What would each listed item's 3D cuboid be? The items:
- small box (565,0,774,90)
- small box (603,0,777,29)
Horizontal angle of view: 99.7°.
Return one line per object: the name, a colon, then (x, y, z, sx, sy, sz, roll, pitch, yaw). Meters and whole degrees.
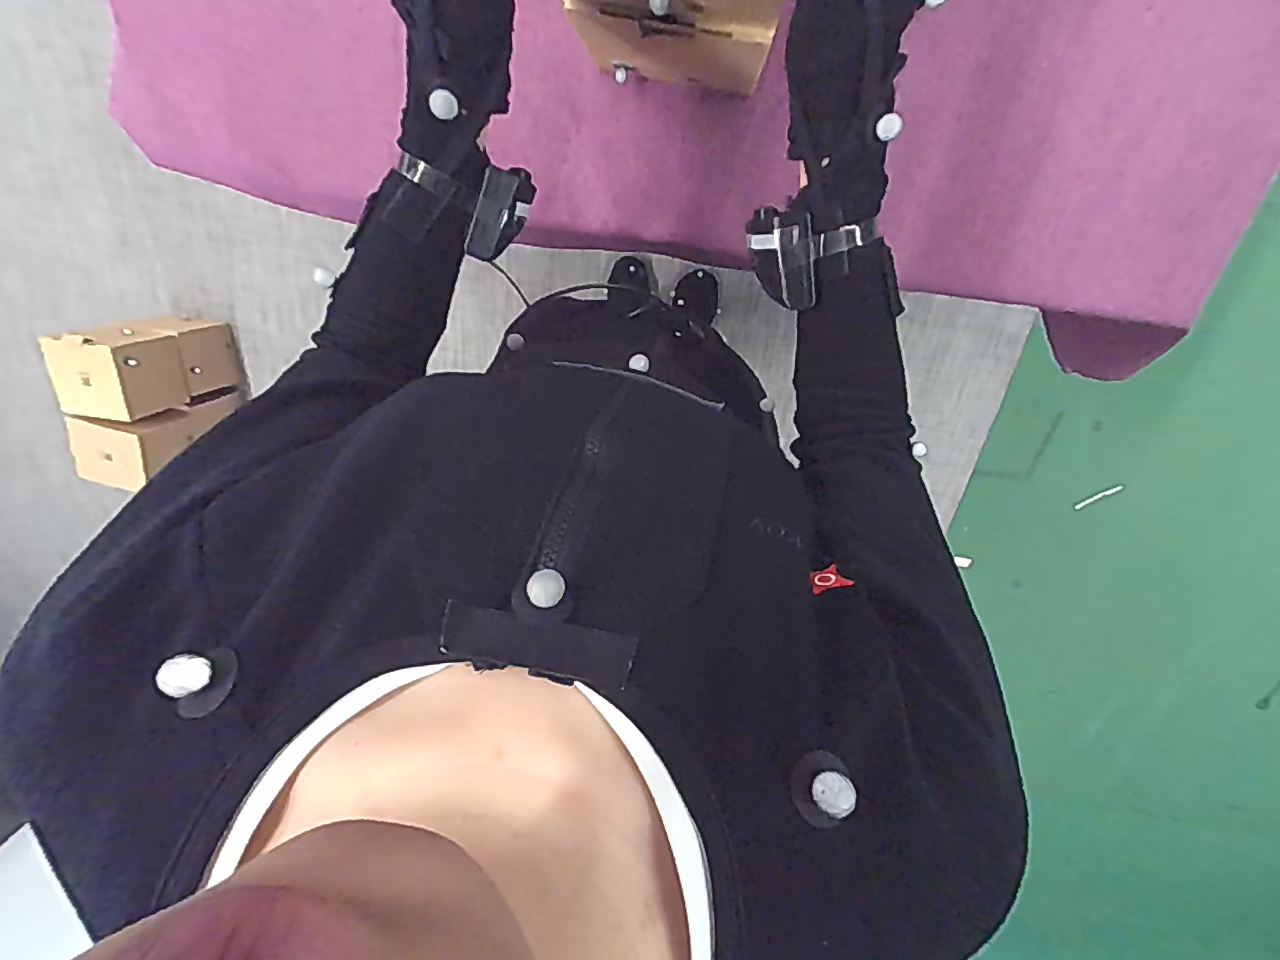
small box: (0.042, -0.460, 0.456, 0.168, 0.176, 0.179, 11, 114, 1)
small box: (0.026, -0.402, 0.304, 0.168, 0.176, 0.179, 11, 115, 0)
